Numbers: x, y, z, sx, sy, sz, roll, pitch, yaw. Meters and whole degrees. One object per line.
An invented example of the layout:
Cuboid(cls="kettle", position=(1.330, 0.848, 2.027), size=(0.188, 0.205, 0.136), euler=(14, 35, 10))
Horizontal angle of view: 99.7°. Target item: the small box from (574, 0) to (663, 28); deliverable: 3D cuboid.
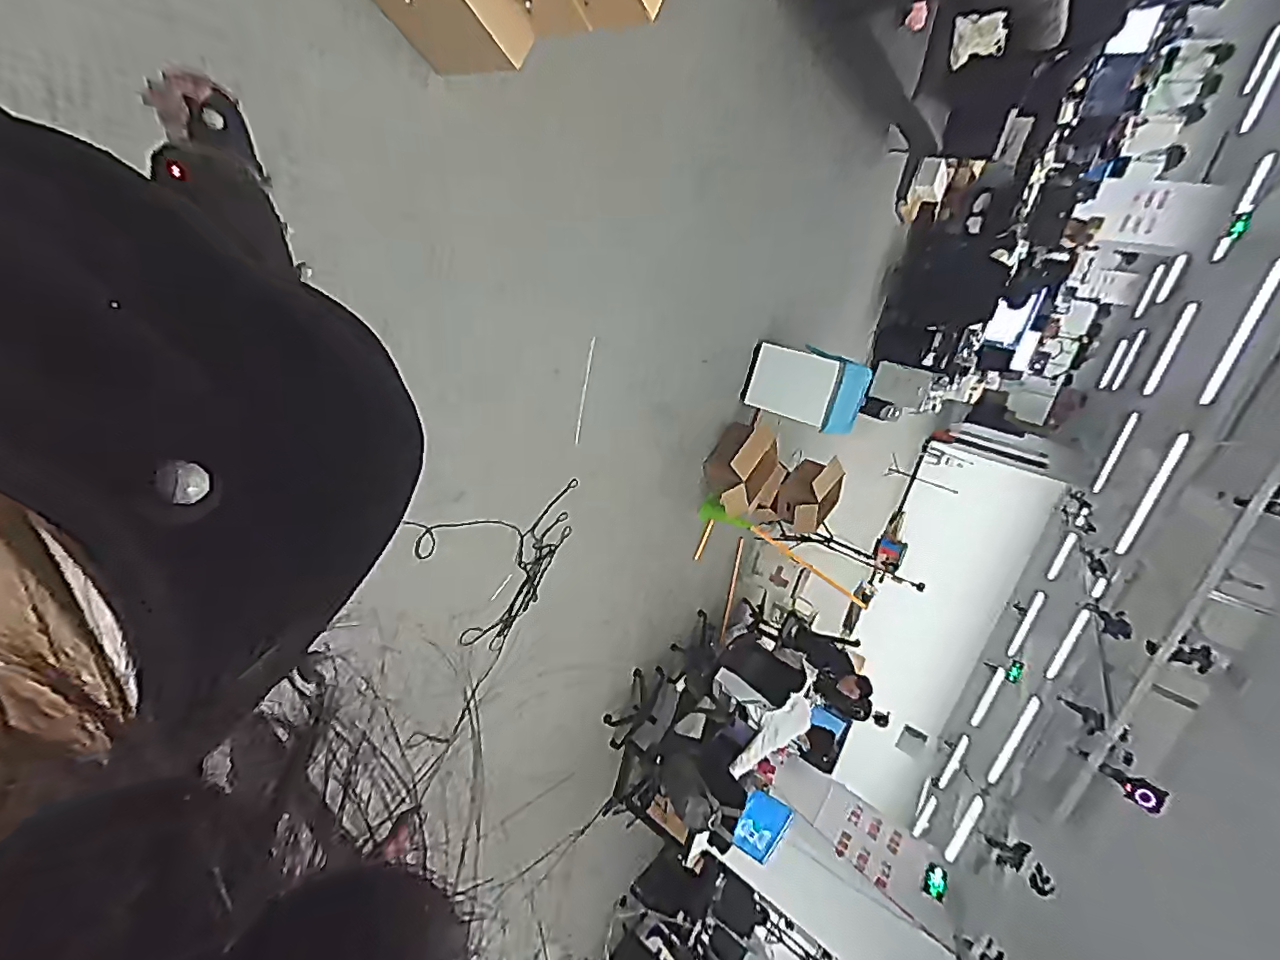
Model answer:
Cuboid(cls="small box", position=(-0.045, -1.052, 1.075), size=(0.168, 0.176, 0.179), euler=(20, 94, -59))
